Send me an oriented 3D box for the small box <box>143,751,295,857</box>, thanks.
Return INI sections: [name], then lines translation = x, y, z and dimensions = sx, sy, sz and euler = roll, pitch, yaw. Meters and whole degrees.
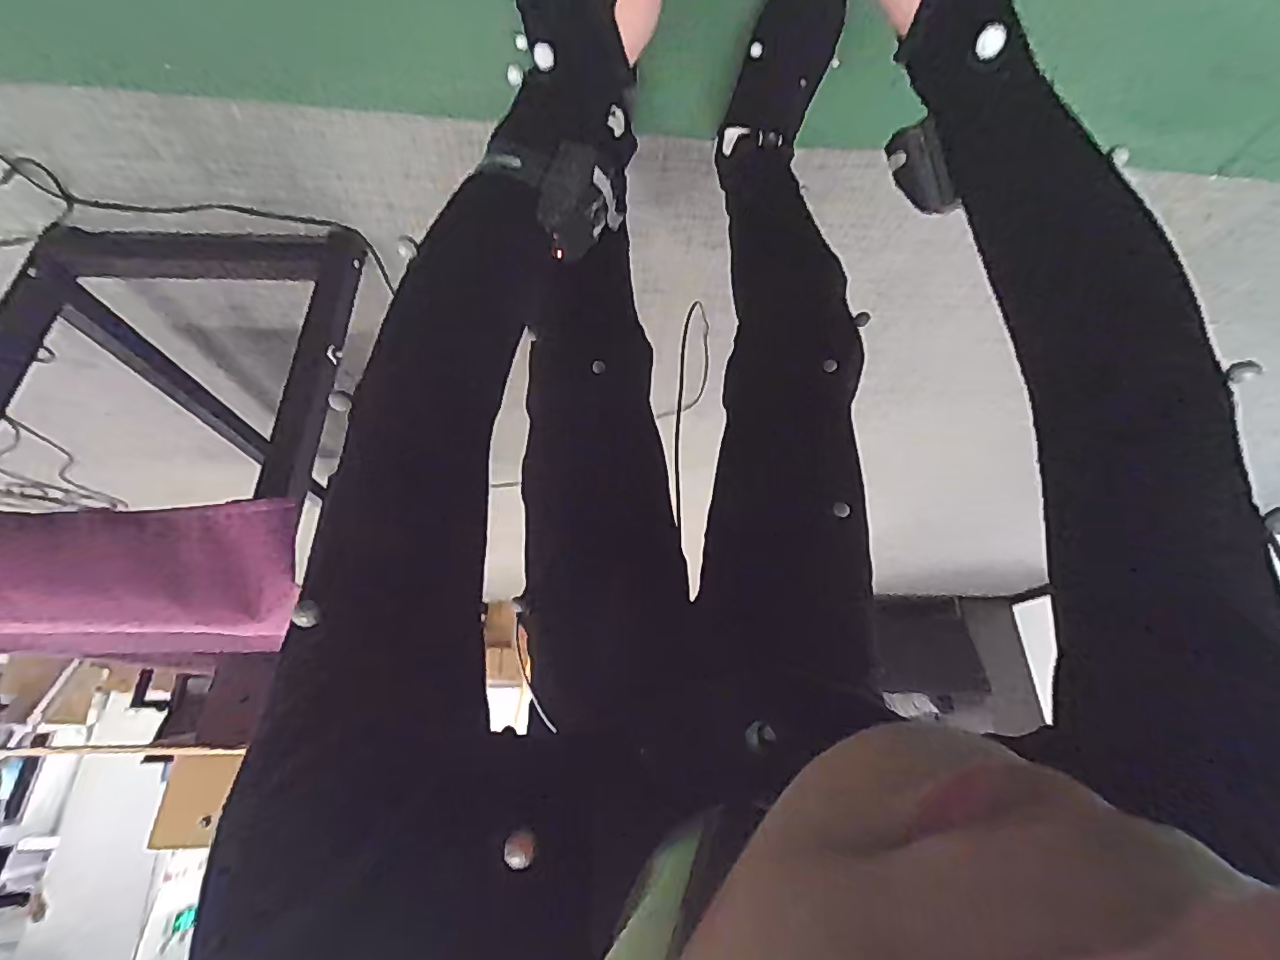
[small box]
translation = -0.846, 0.658, 1.114
dimensions = 0.179, 0.176, 0.168
euler = 0, 154, -1
